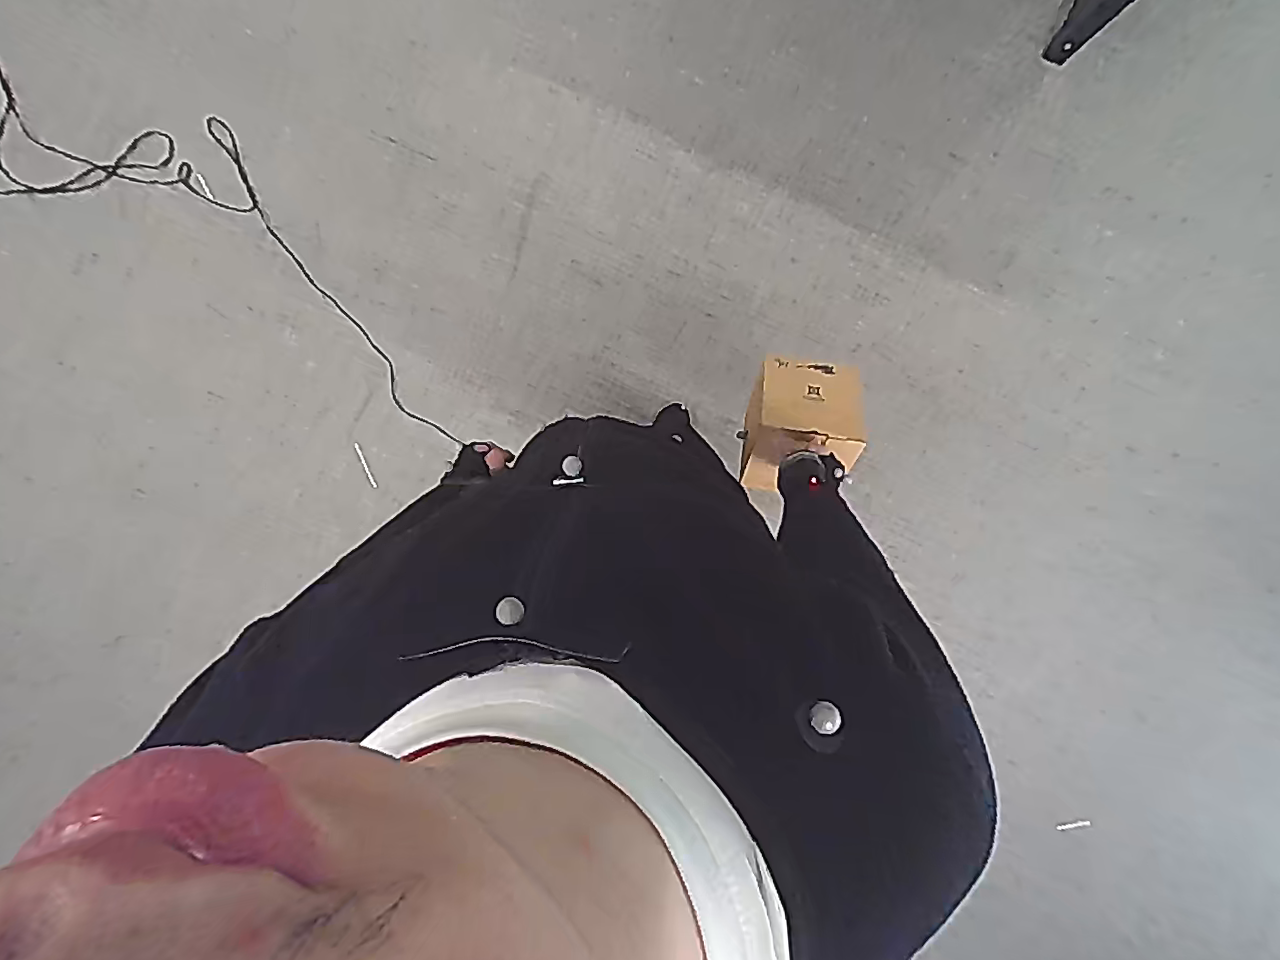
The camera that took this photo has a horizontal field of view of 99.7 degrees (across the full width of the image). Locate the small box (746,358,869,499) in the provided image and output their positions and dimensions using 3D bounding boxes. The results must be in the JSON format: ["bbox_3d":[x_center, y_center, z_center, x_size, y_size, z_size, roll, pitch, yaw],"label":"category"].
[{"bbox_3d":[0.284,-0.086,0.948,0.168,0.176,0.179,7,54,3],"label":"small box"}]
